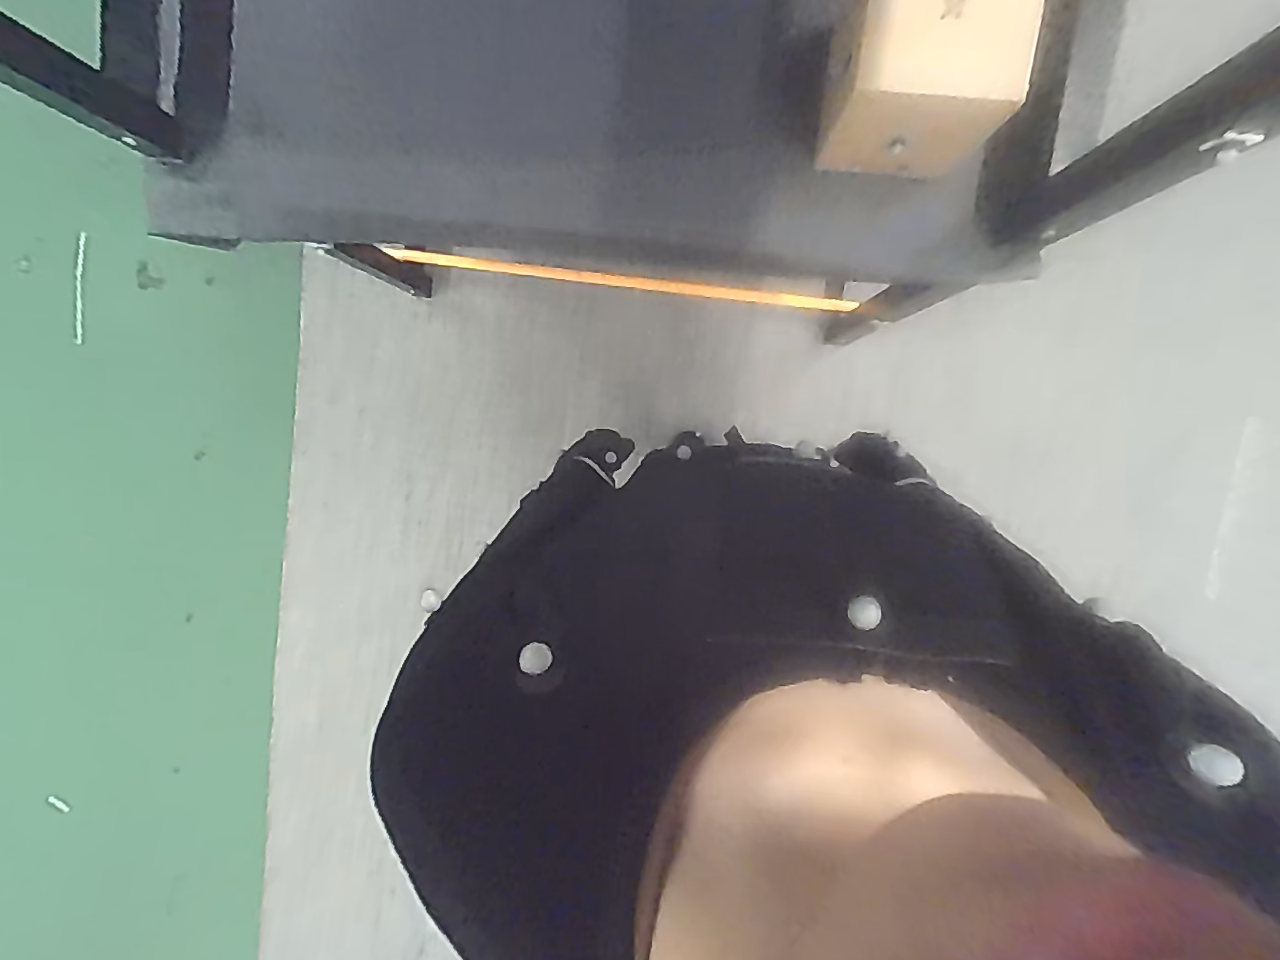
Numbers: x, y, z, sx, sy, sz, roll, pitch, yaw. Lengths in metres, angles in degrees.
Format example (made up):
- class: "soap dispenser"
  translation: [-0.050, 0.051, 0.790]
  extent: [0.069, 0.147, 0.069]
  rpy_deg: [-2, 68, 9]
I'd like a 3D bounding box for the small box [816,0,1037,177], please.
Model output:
- class: "small box"
  translation: [0.306, -0.469, 0.605]
  extent: [0.168, 0.176, 0.179]
  rpy_deg: [7, 95, 3]
